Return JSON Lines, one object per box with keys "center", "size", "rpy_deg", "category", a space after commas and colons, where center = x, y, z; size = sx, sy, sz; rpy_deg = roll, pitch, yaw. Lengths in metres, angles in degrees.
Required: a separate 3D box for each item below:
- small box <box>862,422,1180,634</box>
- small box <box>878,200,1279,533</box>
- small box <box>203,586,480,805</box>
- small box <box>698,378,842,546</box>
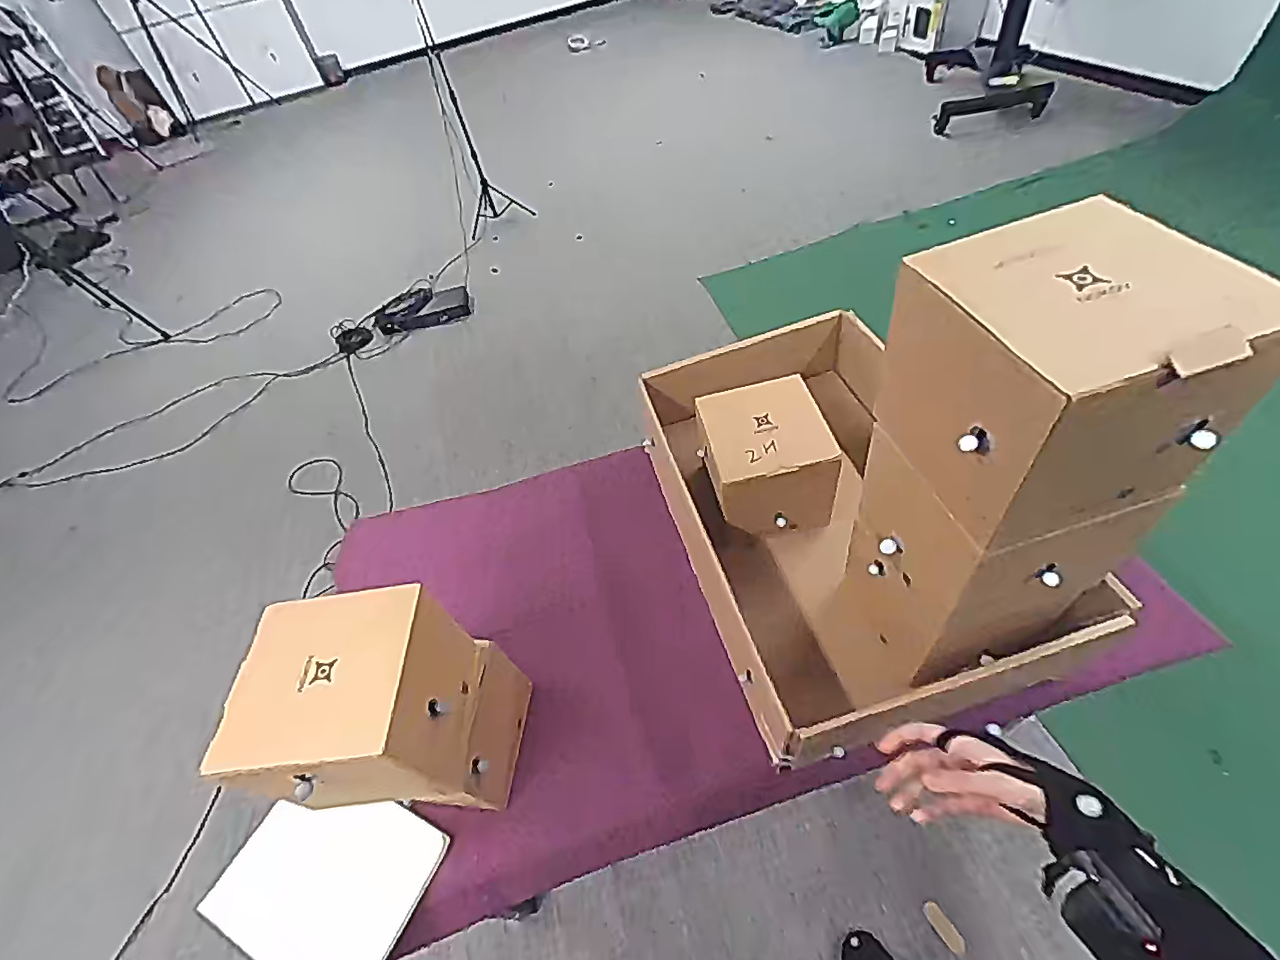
{"center": [0.346, 0.027, 0.540], "size": [0.179, 0.176, 0.168], "rpy_deg": [-18, 49, 0], "category": "small box"}
{"center": [0.311, -0.079, 0.421], "size": [0.168, 0.176, 0.179], "rpy_deg": [-17, 49, 0], "category": "small box"}
{"center": [-0.288, 0.233, 0.575], "size": [0.179, 0.176, 0.168], "rpy_deg": [-10, 50, 6], "category": "small box"}
{"center": [0.191, -0.024, 0.835], "size": [0.168, 0.176, 0.179], "rpy_deg": [-13, 51, 3], "category": "small box"}
